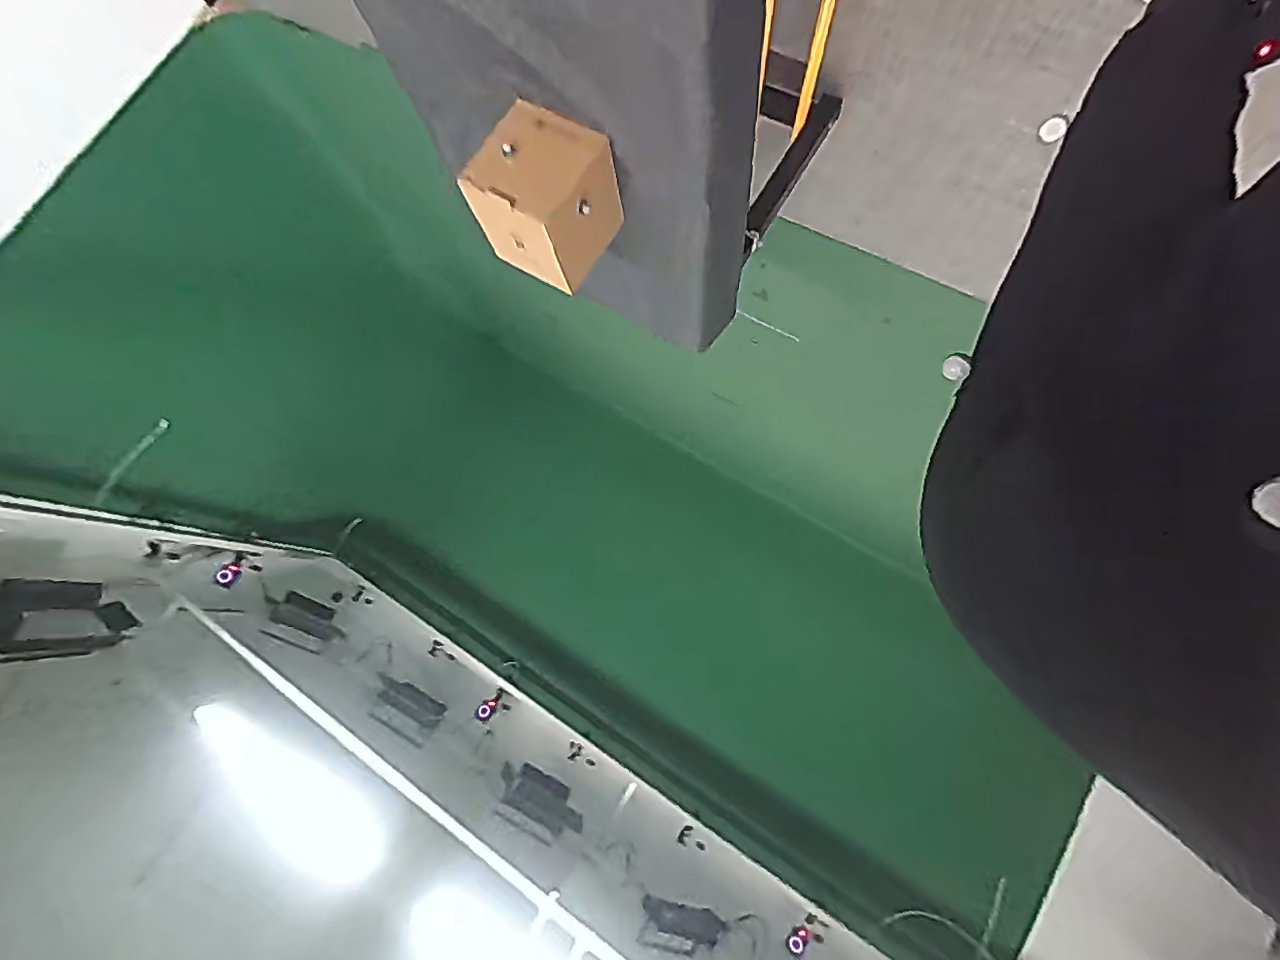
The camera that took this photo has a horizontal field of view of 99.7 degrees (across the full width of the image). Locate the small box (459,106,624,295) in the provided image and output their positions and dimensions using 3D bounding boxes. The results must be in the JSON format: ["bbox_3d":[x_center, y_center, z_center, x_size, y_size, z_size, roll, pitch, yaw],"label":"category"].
[{"bbox_3d":[-0.144,-0.439,0.857,0.168,0.176,0.179,31,171,13],"label":"small box"}]
